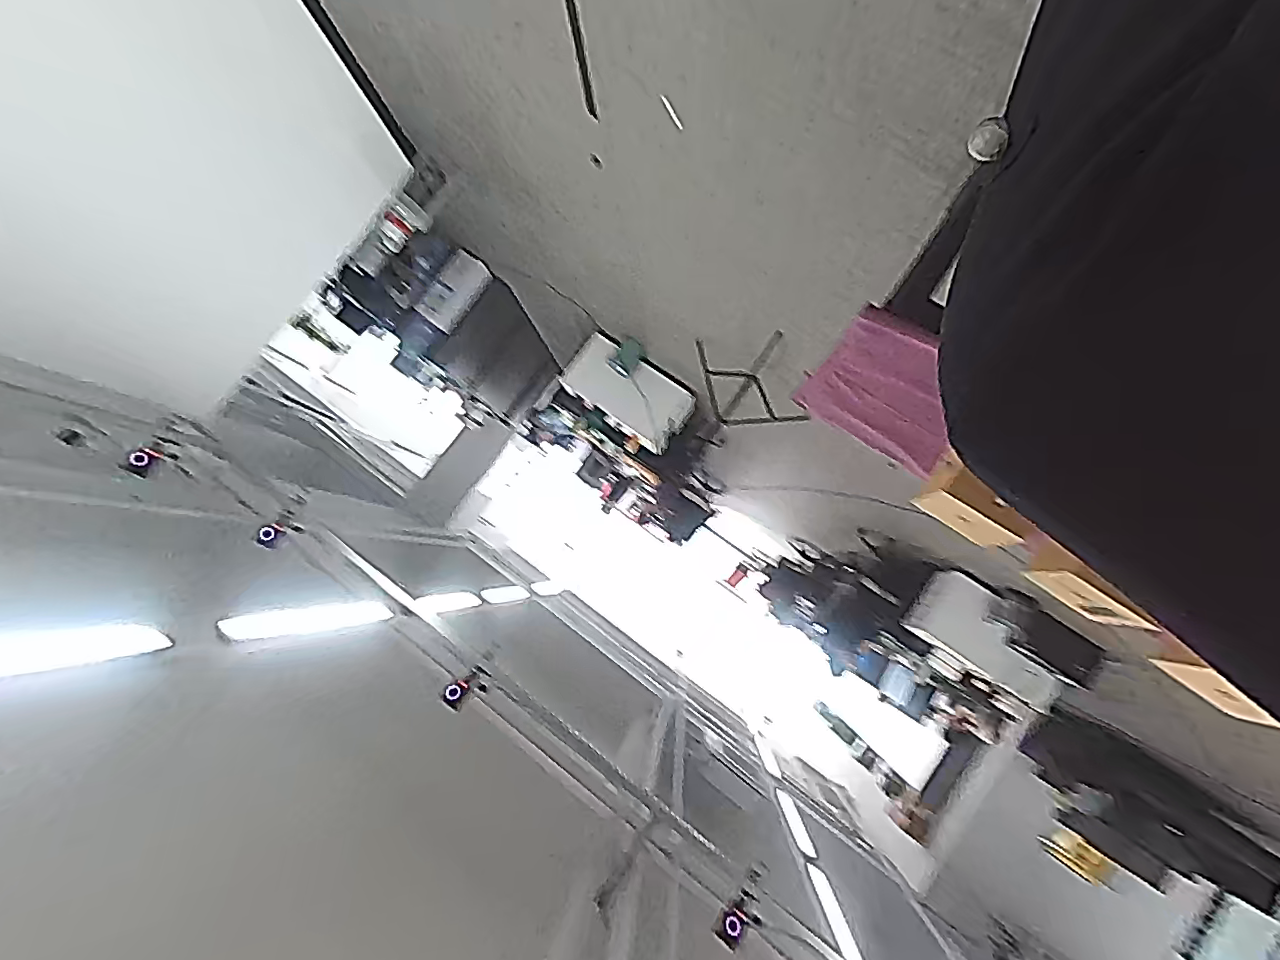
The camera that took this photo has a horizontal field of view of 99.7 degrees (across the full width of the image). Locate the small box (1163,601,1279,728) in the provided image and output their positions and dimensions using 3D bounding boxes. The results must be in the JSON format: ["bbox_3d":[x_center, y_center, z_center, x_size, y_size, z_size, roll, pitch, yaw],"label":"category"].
[{"bbox_3d":[1.183,0.346,1.024,0.179,0.176,0.168,38,176,13],"label":"small box"}]

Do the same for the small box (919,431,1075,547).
[{"bbox_3d":[0.728,0.016,1.114,0.179,0.176,0.168,34,175,12],"label":"small box"}]
